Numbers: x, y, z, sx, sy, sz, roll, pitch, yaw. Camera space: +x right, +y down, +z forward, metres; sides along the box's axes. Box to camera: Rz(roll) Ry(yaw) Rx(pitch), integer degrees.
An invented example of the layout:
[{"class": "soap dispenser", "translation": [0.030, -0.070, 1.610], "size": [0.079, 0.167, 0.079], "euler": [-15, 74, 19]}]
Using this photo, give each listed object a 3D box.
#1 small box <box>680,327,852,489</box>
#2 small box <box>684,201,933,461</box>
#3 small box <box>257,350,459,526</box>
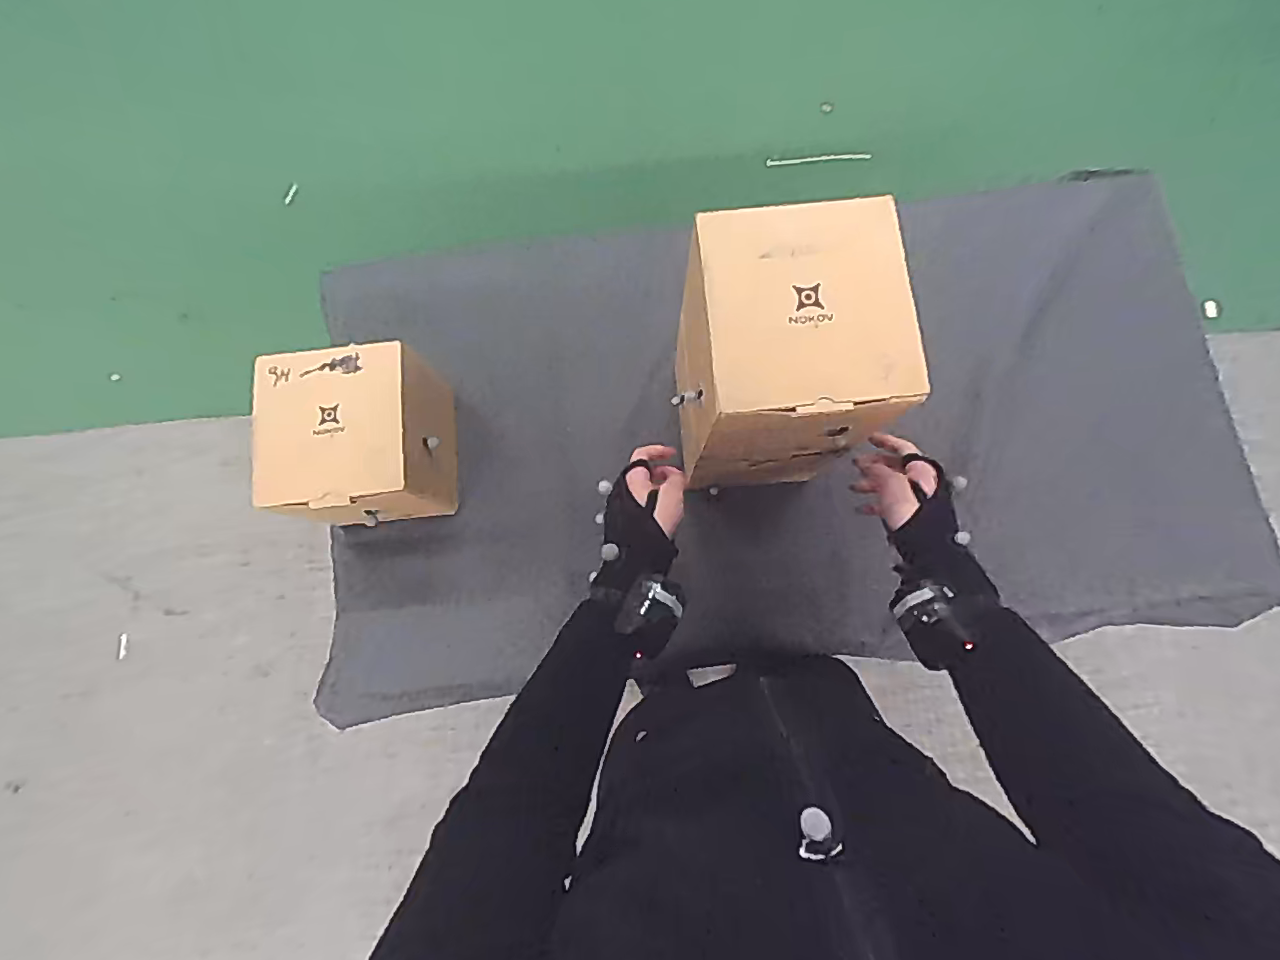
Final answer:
[{"class": "small box", "translation": [0.139, -0.087, 0.660], "size": [0.168, 0.176, 0.179], "euler": [-5, 79, 0]}, {"class": "small box", "translation": [0.134, -0.120, 0.501], "size": [0.168, 0.176, 0.179], "euler": [-6, 78, -1]}, {"class": "small box", "translation": [-0.331, -0.039, 0.665], "size": [0.168, 0.176, 0.179], "euler": [-7, 80, -1]}]
